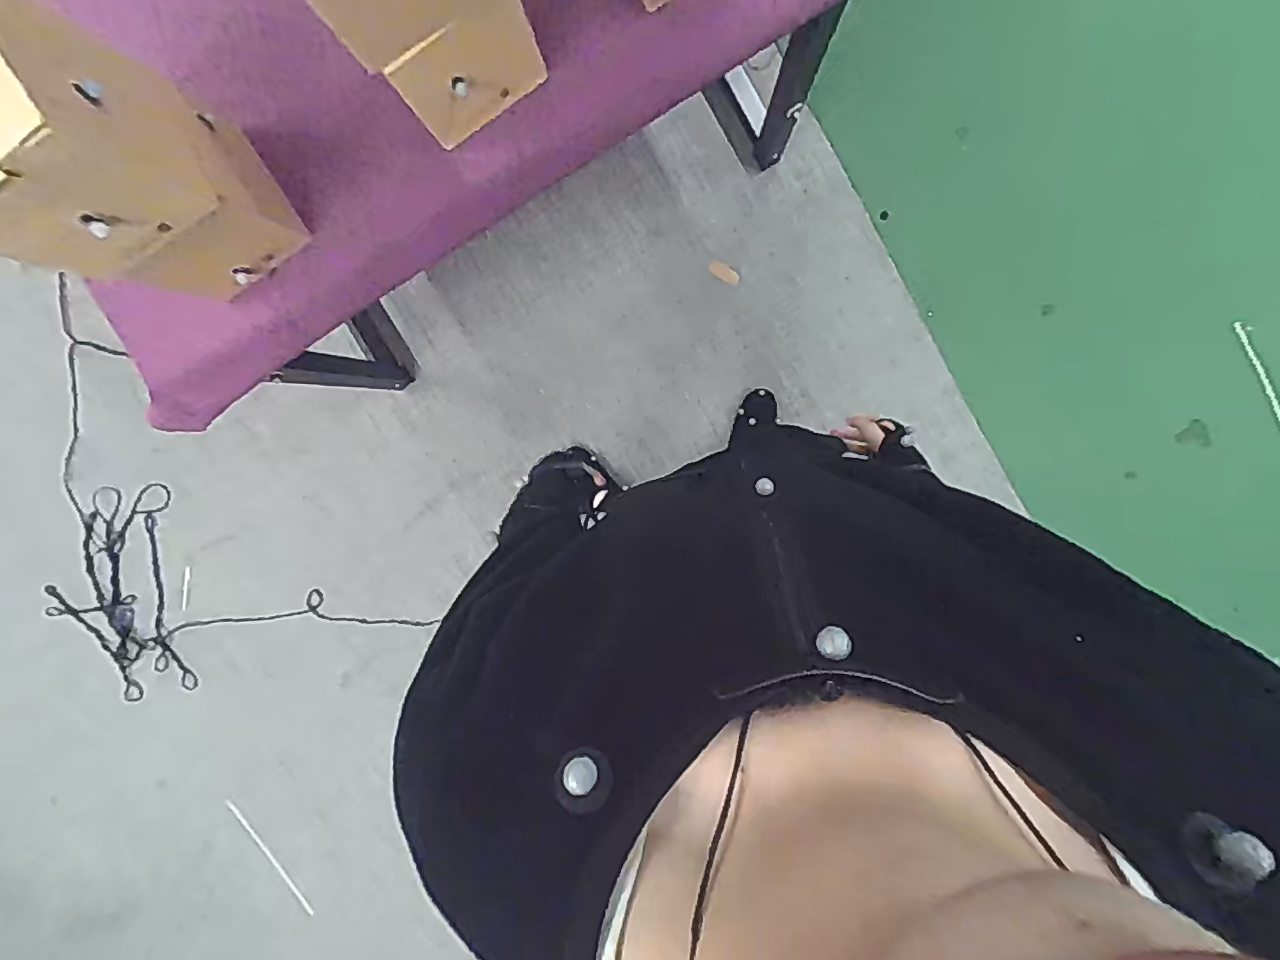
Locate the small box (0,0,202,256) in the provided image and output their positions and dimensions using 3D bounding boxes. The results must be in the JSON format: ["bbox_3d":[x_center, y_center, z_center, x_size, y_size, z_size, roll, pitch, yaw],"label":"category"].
[{"bbox_3d":[-0.579,-0.335,0.508,0.168,0.176,0.179,-30,95,6],"label":"small box"}]

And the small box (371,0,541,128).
[{"bbox_3d":[-0.239,-0.554,0.627,0.168,0.176,0.179,-31,93,7],"label":"small box"}]

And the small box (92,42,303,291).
[{"bbox_3d":[-0.576,-0.364,0.669,0.168,0.176,0.179,-31,95,7],"label":"small box"}]

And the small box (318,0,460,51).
[{"bbox_3d":[-0.249,-0.533,0.464,0.179,0.176,0.168,-28,94,6],"label":"small box"}]
